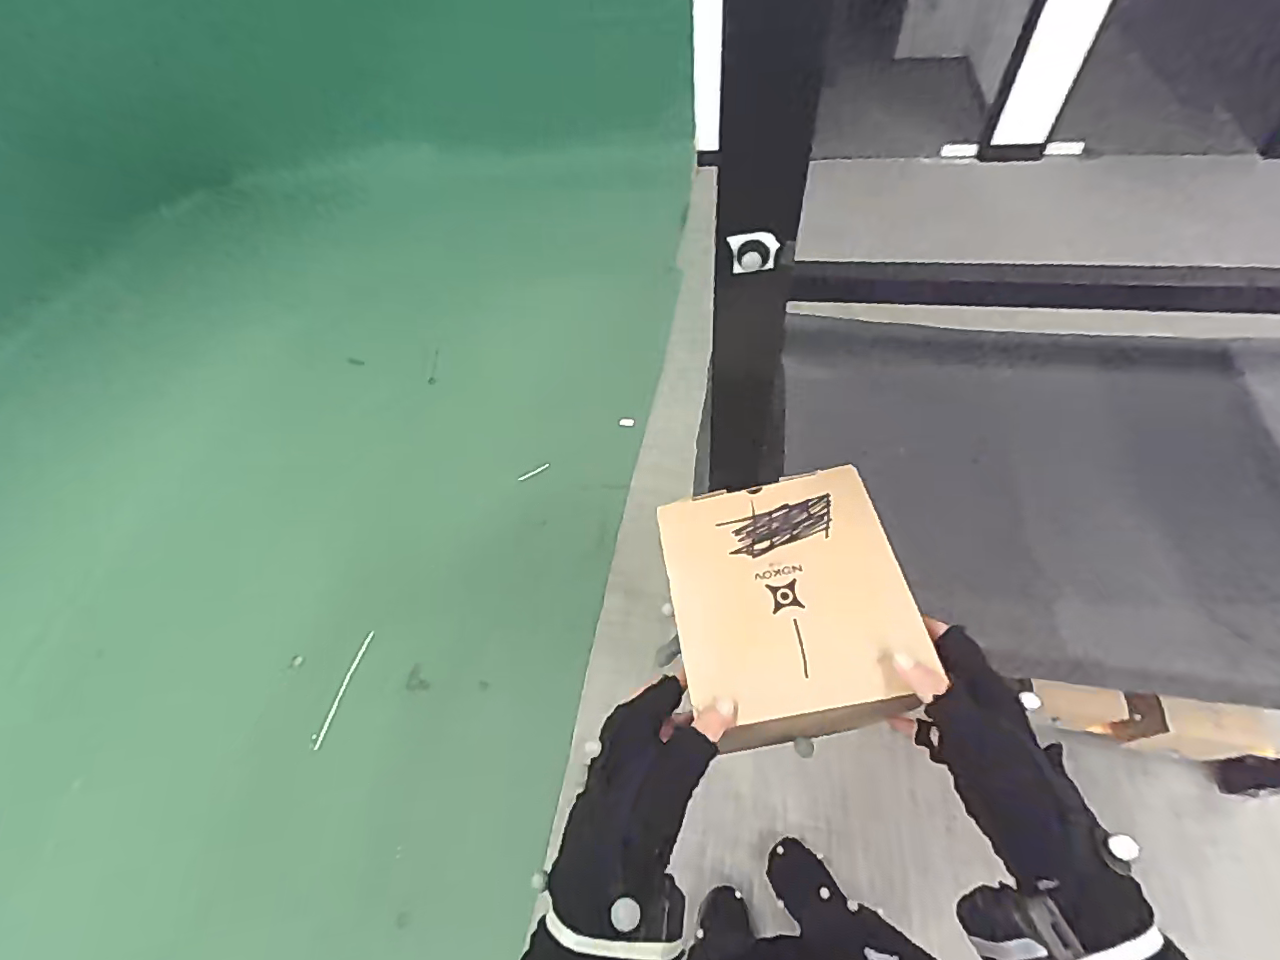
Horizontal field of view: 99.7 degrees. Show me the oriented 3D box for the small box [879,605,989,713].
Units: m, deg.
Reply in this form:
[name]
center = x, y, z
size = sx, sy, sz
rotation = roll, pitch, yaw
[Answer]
[small box]
center = 0.639, 0.400, 1.197
size = 0.168, 0.176, 0.179
rotation = 6, 57, 11
